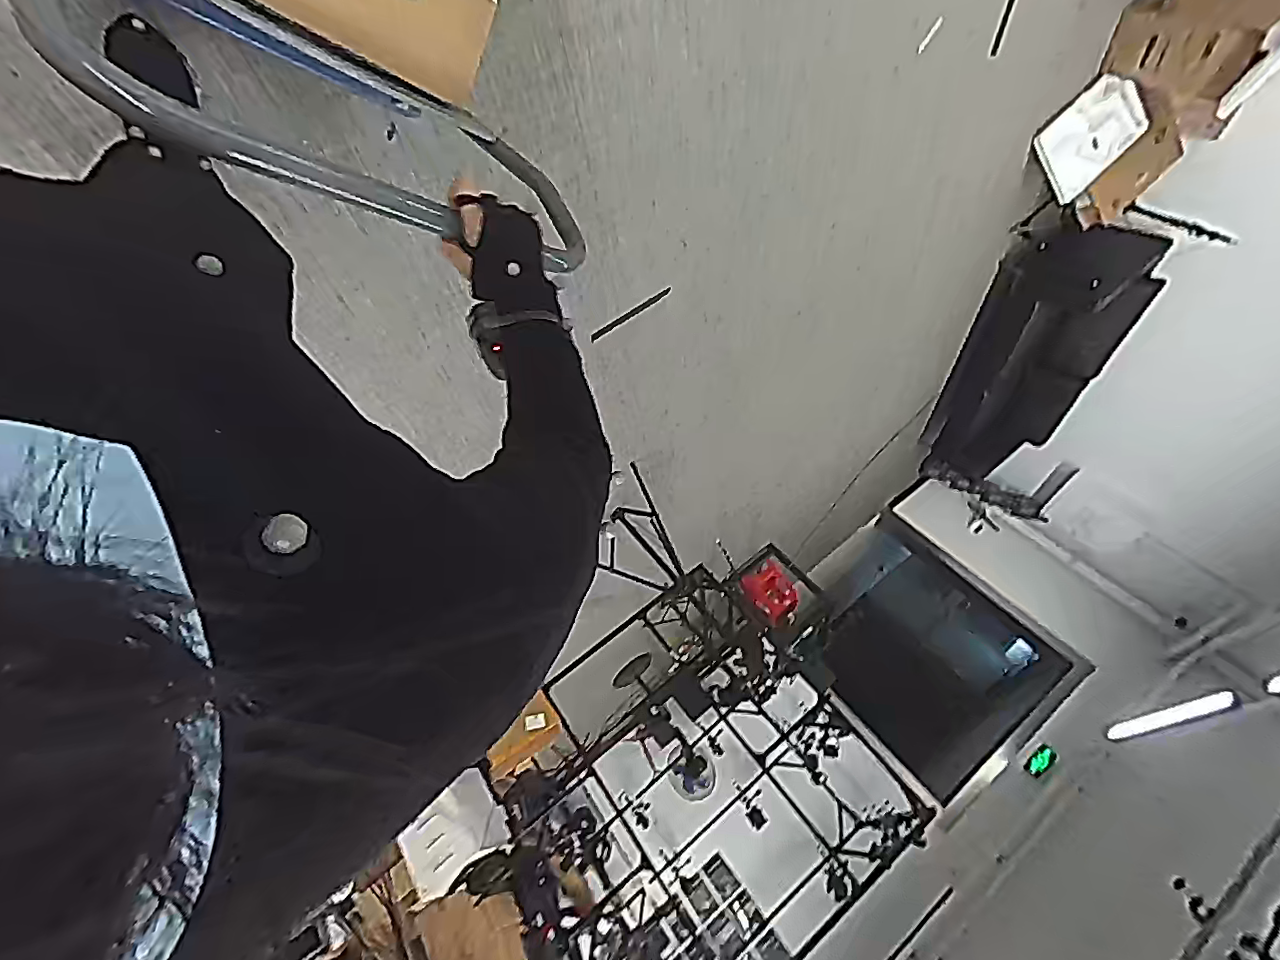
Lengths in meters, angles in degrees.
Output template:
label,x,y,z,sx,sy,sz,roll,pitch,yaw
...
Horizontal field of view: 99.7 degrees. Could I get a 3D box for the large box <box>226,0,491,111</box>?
label,x,y,z,sx,sy,sz,roll,pitch,yaw
large box,-0.431,-0.760,0.683,0.408,0.320,0.320,-4,133,-50
